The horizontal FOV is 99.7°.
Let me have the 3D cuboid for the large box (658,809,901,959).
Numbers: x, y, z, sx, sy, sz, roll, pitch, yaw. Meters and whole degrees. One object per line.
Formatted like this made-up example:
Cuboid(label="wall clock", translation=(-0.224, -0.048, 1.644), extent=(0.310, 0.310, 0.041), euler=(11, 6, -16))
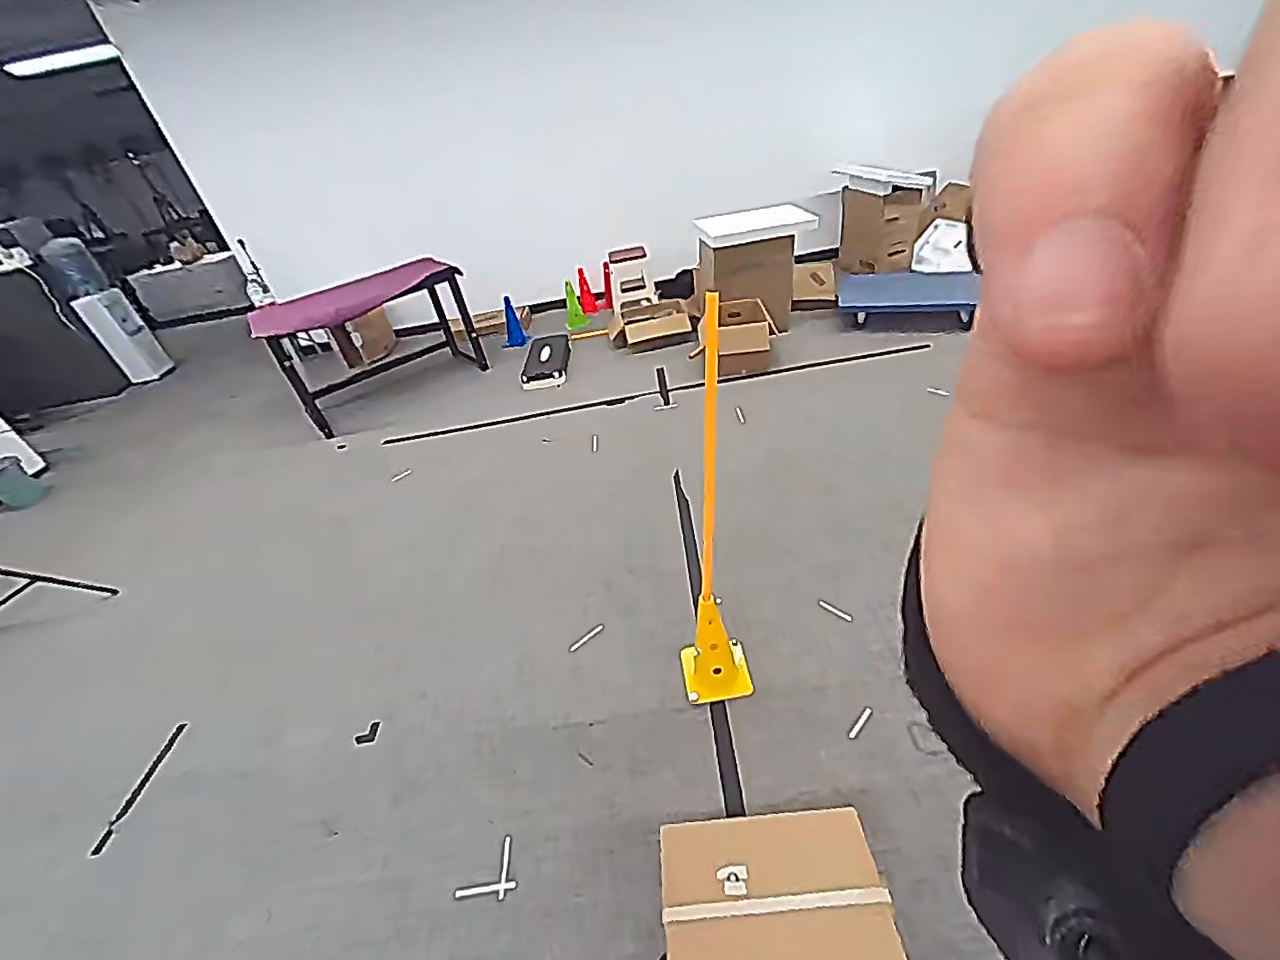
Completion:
Cuboid(label="large box", translation=(0.262, 0.909, 1.072), extent=(0.408, 0.320, 0.320), euler=(-8, 33, 3))
